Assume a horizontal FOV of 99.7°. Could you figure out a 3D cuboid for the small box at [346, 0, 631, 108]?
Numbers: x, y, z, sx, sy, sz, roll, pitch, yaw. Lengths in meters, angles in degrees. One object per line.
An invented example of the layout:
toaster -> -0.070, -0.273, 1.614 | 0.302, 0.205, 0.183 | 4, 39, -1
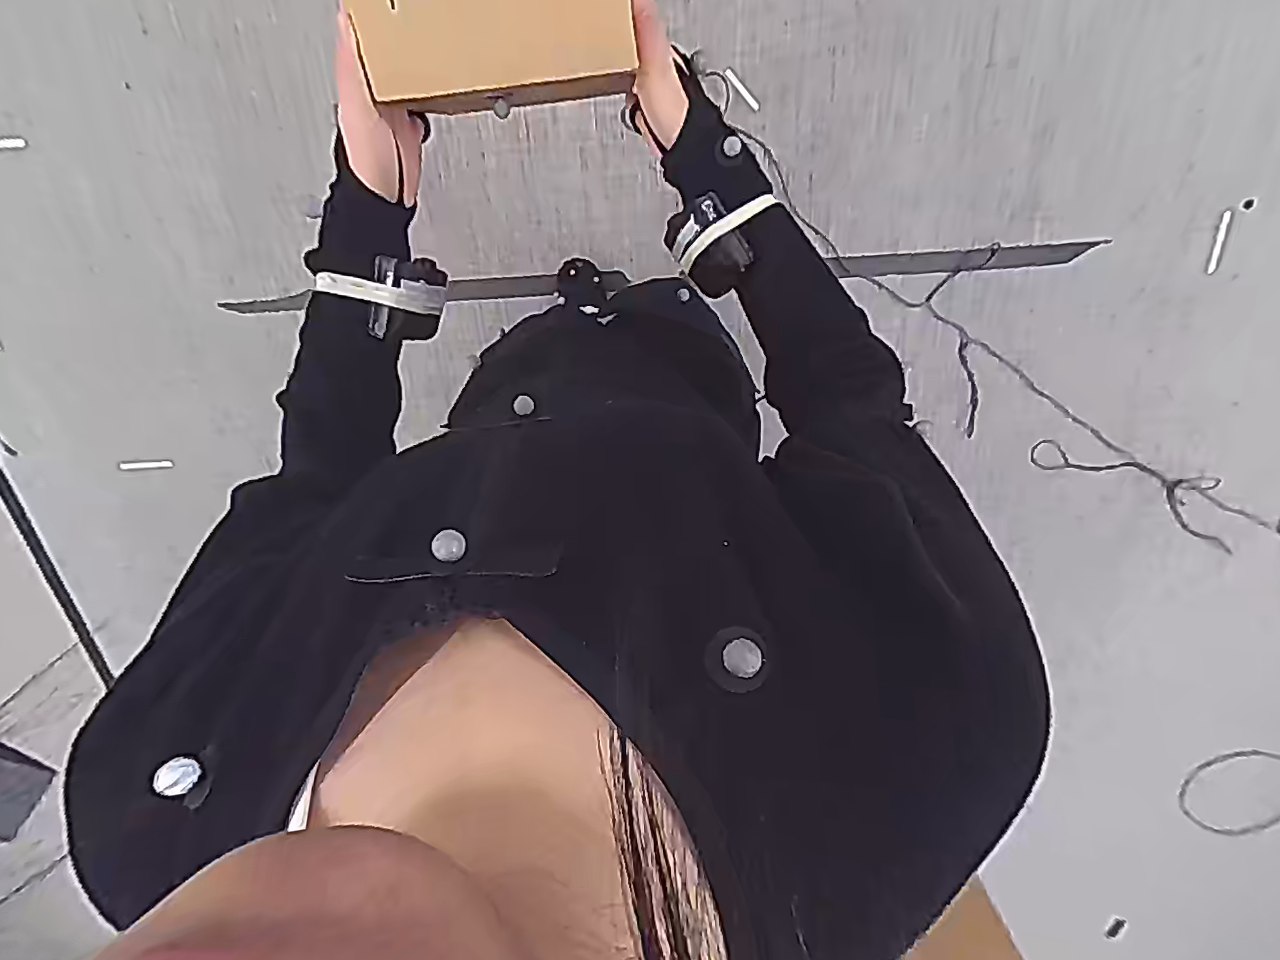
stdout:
small box -> -0.099, -0.370, 0.378 | 0.179, 0.176, 0.168 | -5, 122, 1
